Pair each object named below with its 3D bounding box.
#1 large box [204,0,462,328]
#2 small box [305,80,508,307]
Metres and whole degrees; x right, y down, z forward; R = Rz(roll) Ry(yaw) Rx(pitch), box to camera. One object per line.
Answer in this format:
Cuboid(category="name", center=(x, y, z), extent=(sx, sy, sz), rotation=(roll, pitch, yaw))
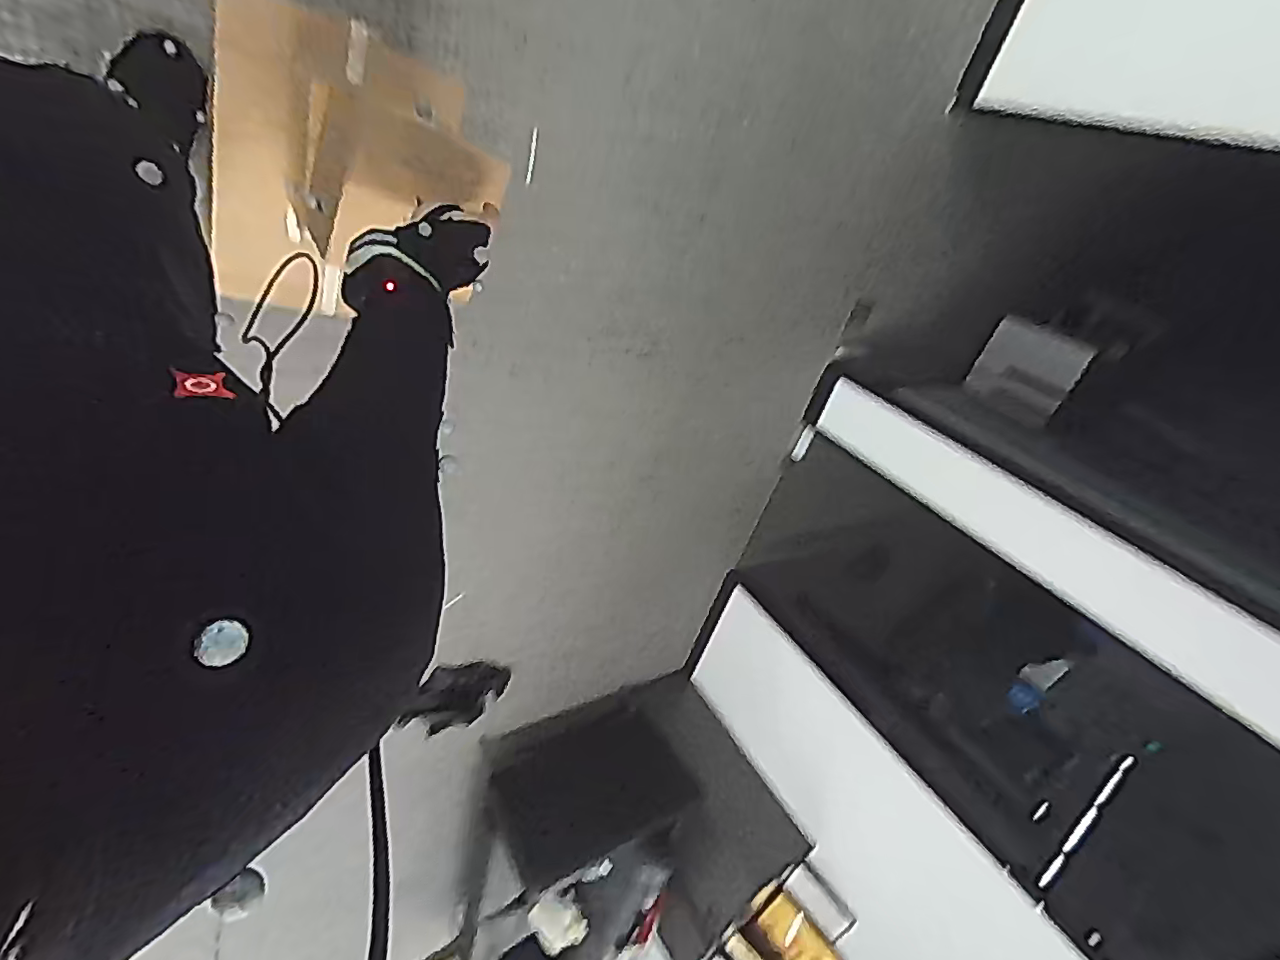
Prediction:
Cuboid(category="large box", center=(-0.542, -0.533, 0.925), extent=(0.320, 0.320, 0.408), rotation=(0, 125, -40))
Cuboid(category="small box", center=(-0.292, -0.344, 0.659), extent=(0.168, 0.176, 0.179), rotation=(4, 122, -44))
